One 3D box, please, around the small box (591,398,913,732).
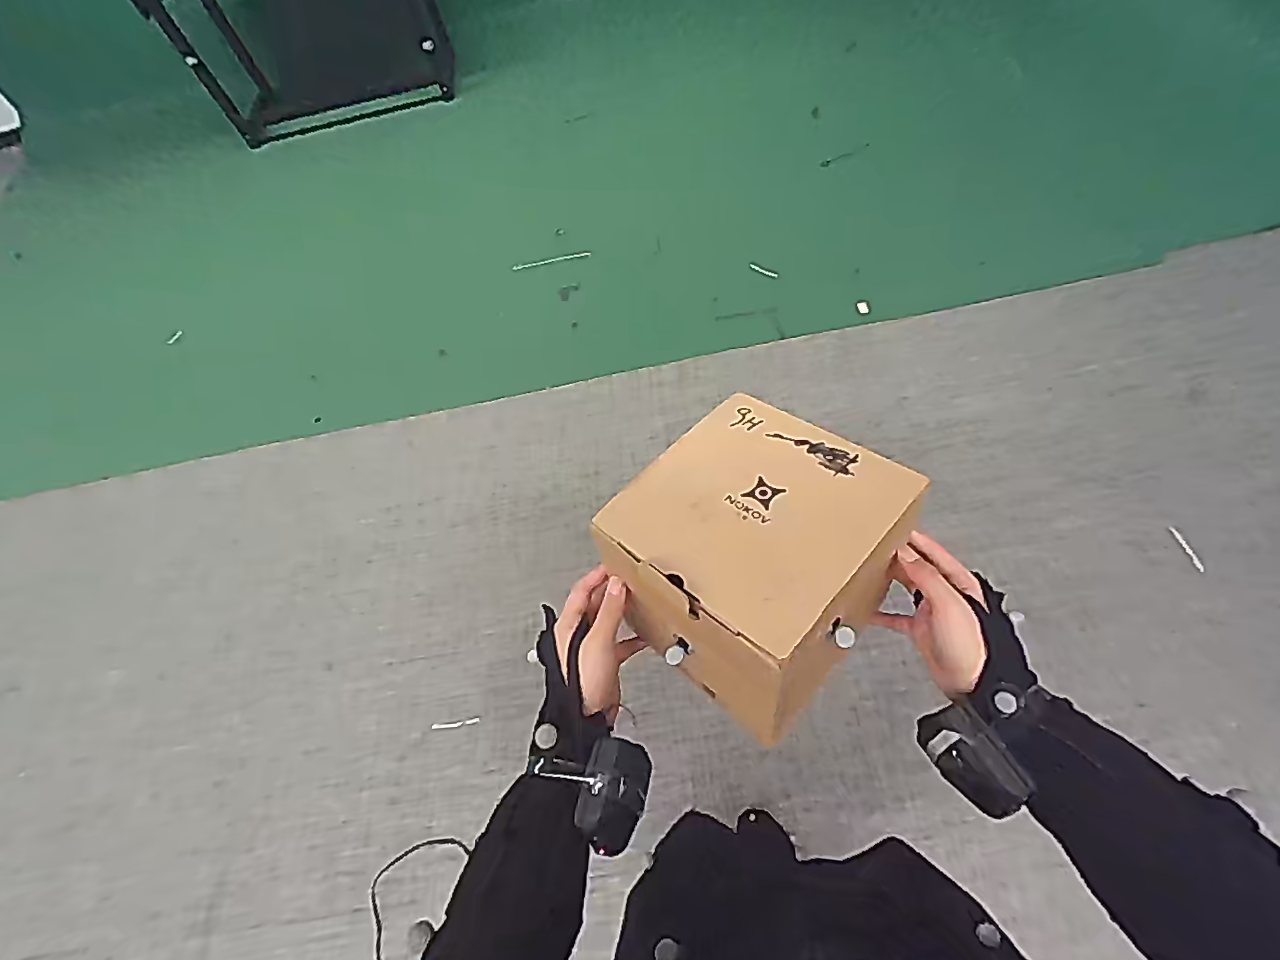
[{"bbox_3d":[0.090,0.070,0.447,0.168,0.176,0.179,33,63,33],"label":"small box"}]
